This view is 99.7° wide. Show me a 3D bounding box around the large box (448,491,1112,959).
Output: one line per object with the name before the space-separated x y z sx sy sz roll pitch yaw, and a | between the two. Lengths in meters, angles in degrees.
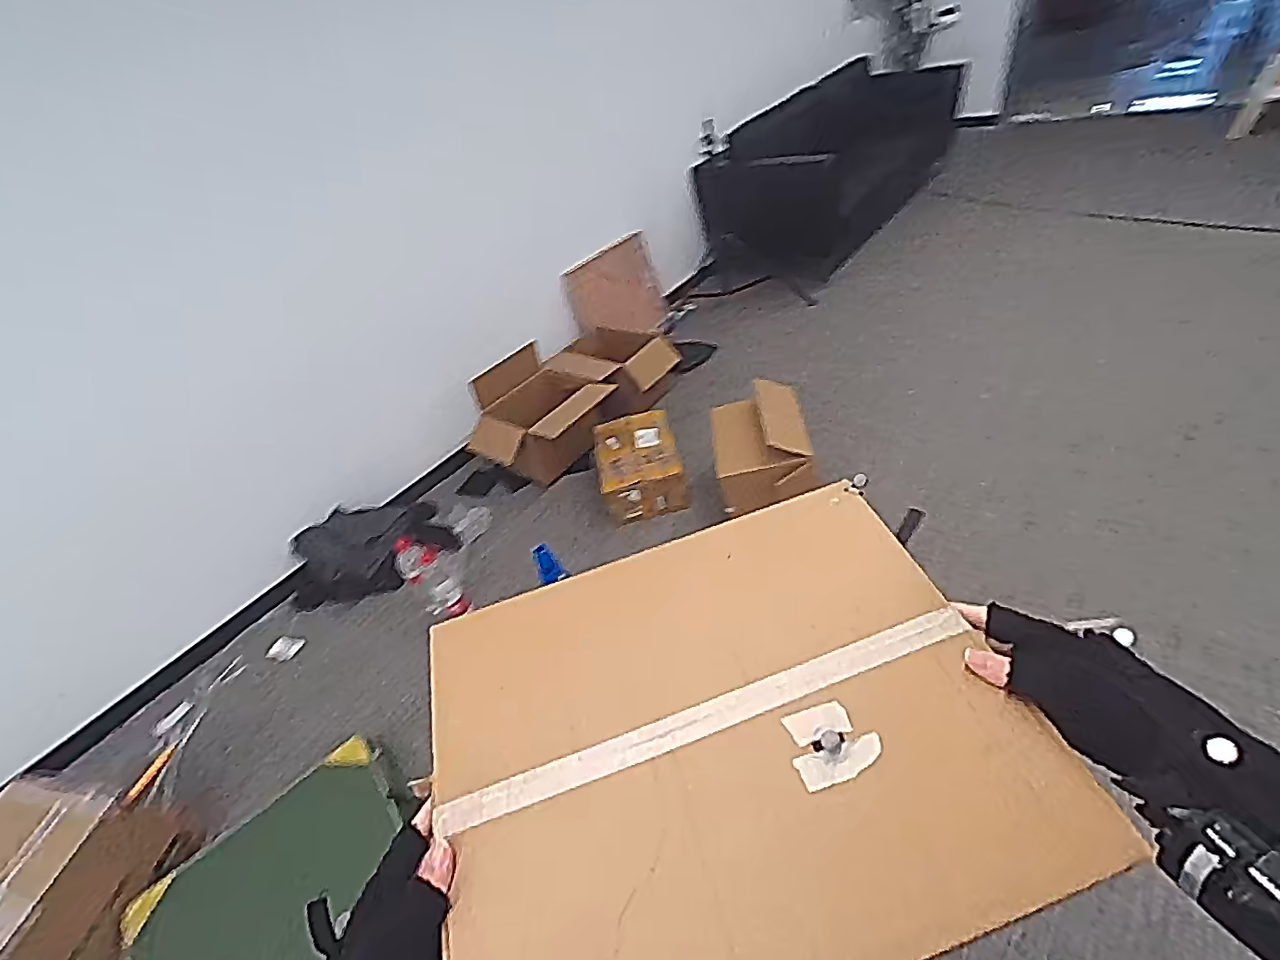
large box | 0.078 0.275 0.514 0.408 0.320 0.320 -18 48 -5
